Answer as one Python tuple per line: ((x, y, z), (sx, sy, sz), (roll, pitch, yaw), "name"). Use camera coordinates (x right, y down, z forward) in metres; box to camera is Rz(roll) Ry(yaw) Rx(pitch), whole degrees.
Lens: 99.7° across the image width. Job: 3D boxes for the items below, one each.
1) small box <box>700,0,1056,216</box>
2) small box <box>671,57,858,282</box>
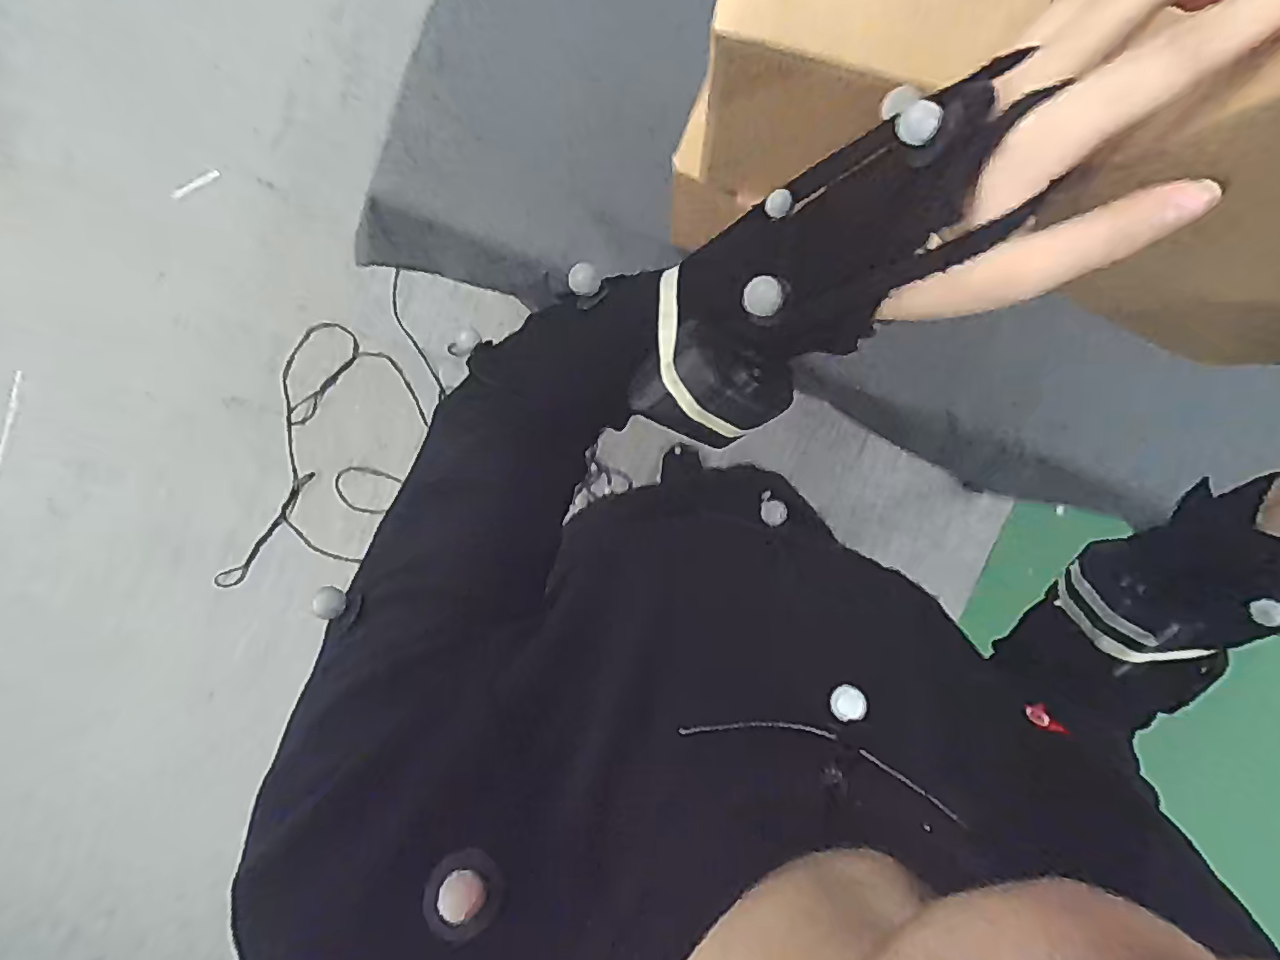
((0.146, -0.306, 0.364), (0.179, 0.176, 0.168), (15, 95, 1), "small box")
((0.137, -0.320, 0.526), (0.168, 0.176, 0.179), (22, 94, 0), "small box")
